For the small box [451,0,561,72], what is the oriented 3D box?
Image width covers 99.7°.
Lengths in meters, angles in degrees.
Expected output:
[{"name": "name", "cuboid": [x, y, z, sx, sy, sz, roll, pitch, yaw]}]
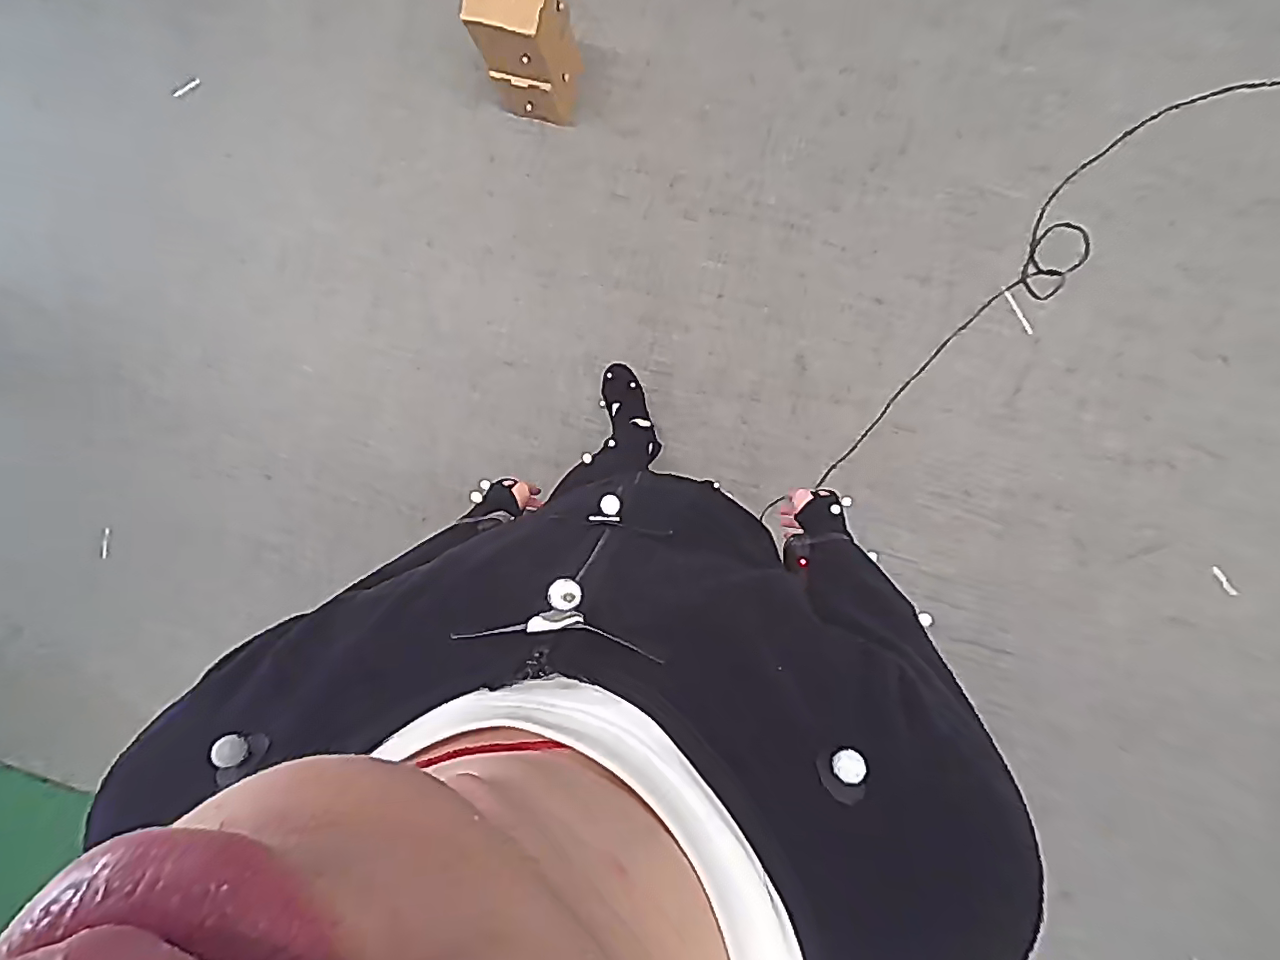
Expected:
[{"name": "small box", "cuboid": [-0.291, -1.063, 1.212, 0.179, 0.176, 0.168, 16, 96, 4]}]

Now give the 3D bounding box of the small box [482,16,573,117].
[{"name": "small box", "cuboid": [-0.282, -1.078, 1.392, 0.168, 0.176, 0.179, 14, 97, 5]}]
